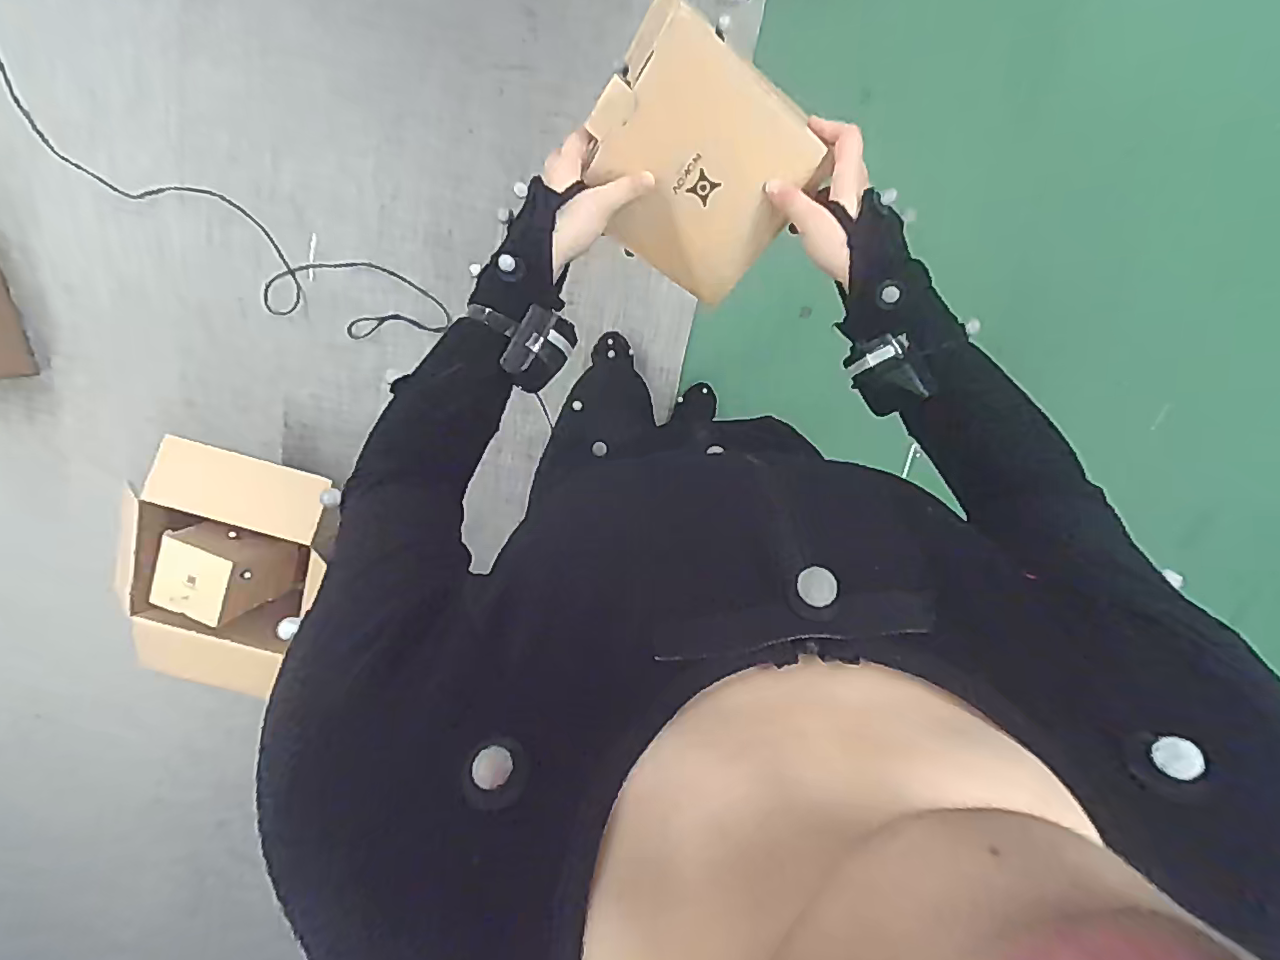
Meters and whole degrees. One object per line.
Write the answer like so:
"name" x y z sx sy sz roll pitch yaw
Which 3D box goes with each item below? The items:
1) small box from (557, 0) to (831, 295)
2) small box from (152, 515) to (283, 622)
"small box" 0.044 -0.319 0.510 0.179 0.176 0.168 25 131 -24
"small box" -1.000 0.202 1.294 0.168 0.176 0.179 22 103 0
